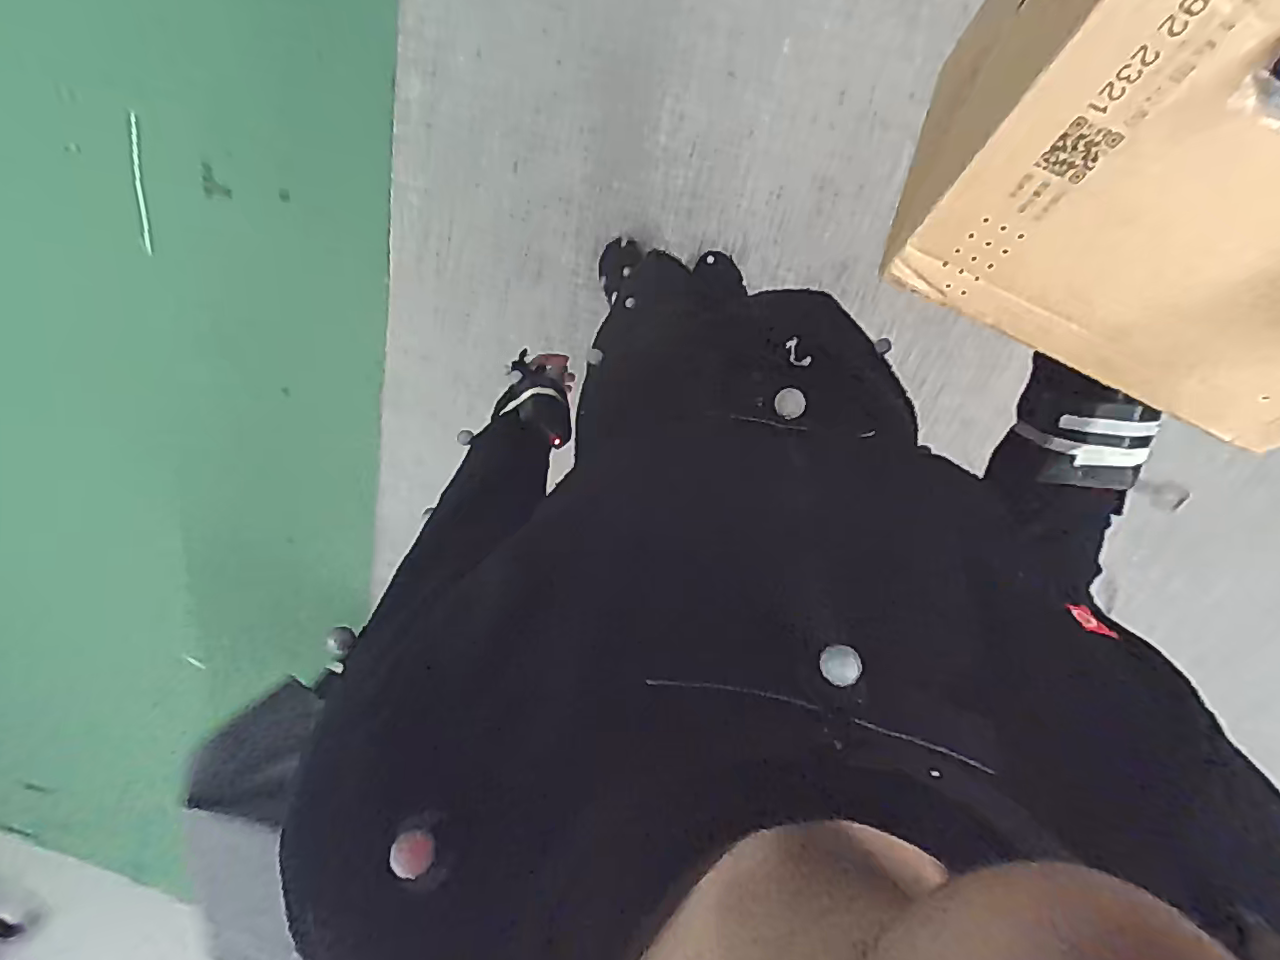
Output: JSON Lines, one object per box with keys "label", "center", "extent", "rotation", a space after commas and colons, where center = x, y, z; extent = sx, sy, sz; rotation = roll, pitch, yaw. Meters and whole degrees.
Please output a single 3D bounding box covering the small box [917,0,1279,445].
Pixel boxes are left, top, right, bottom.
{"label": "small box", "center": [0.224, -0.149, 0.173], "extent": [0.176, 0.179, 0.168], "rotation": [28, 153, -2]}
